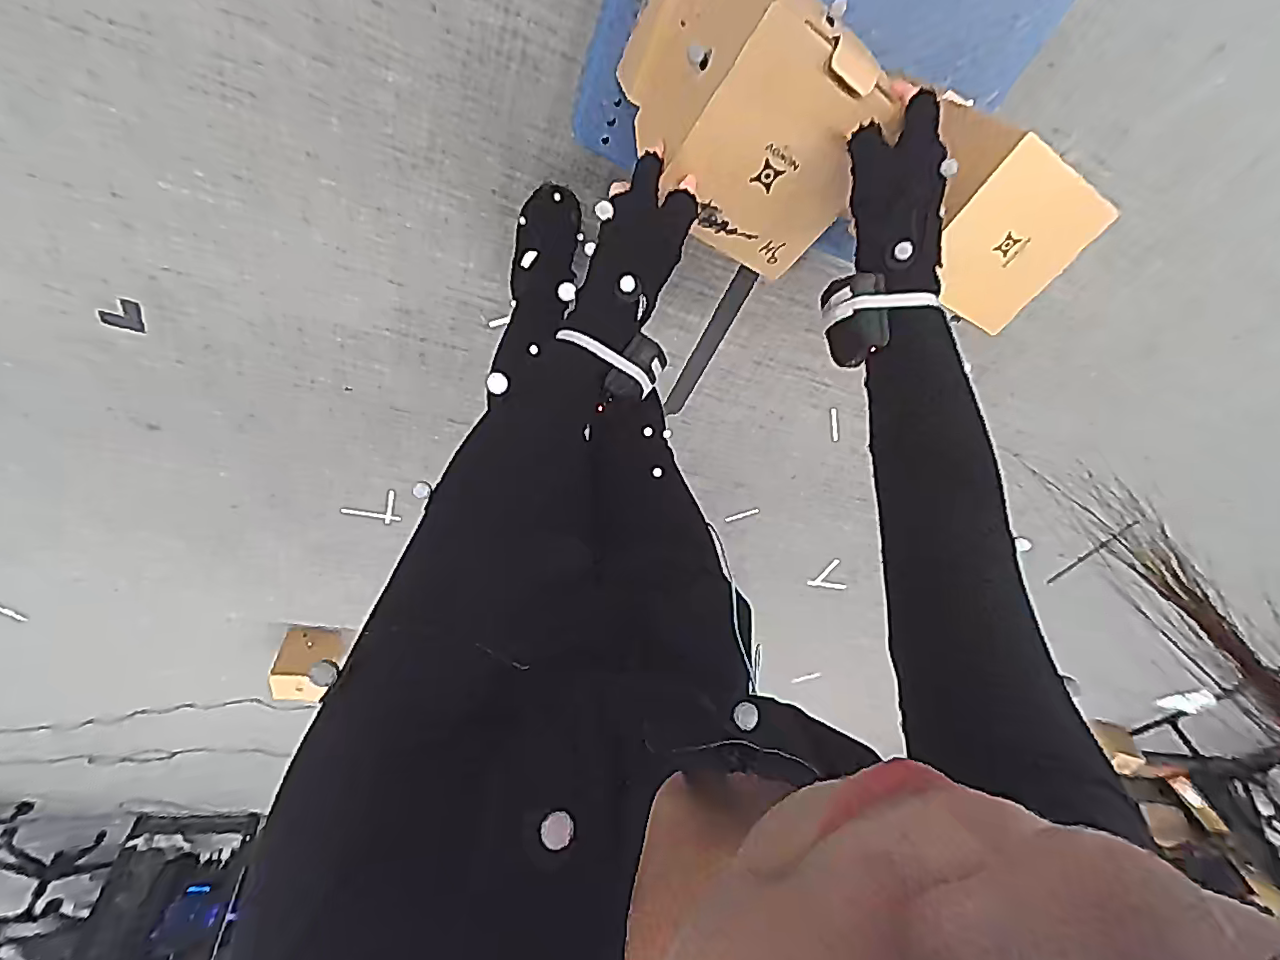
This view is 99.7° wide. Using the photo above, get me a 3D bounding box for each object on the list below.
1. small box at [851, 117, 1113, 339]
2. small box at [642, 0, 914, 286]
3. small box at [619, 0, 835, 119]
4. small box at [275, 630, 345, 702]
[{"bbox_3d":[0.397,-0.308,0.660,0.179,0.176,0.168,16,129,-25],"label":"small box"},{"bbox_3d":[0.112,-0.333,0.516,0.168,0.176,0.179,17,140,-27],"label":"small box"},{"bbox_3d":[0.089,-0.503,0.646,0.179,0.176,0.168,16,129,-22],"label":"small box"},{"bbox_3d":[-1.127,0.641,1.858,0.168,0.176,0.179,11,132,-19],"label":"small box"}]
